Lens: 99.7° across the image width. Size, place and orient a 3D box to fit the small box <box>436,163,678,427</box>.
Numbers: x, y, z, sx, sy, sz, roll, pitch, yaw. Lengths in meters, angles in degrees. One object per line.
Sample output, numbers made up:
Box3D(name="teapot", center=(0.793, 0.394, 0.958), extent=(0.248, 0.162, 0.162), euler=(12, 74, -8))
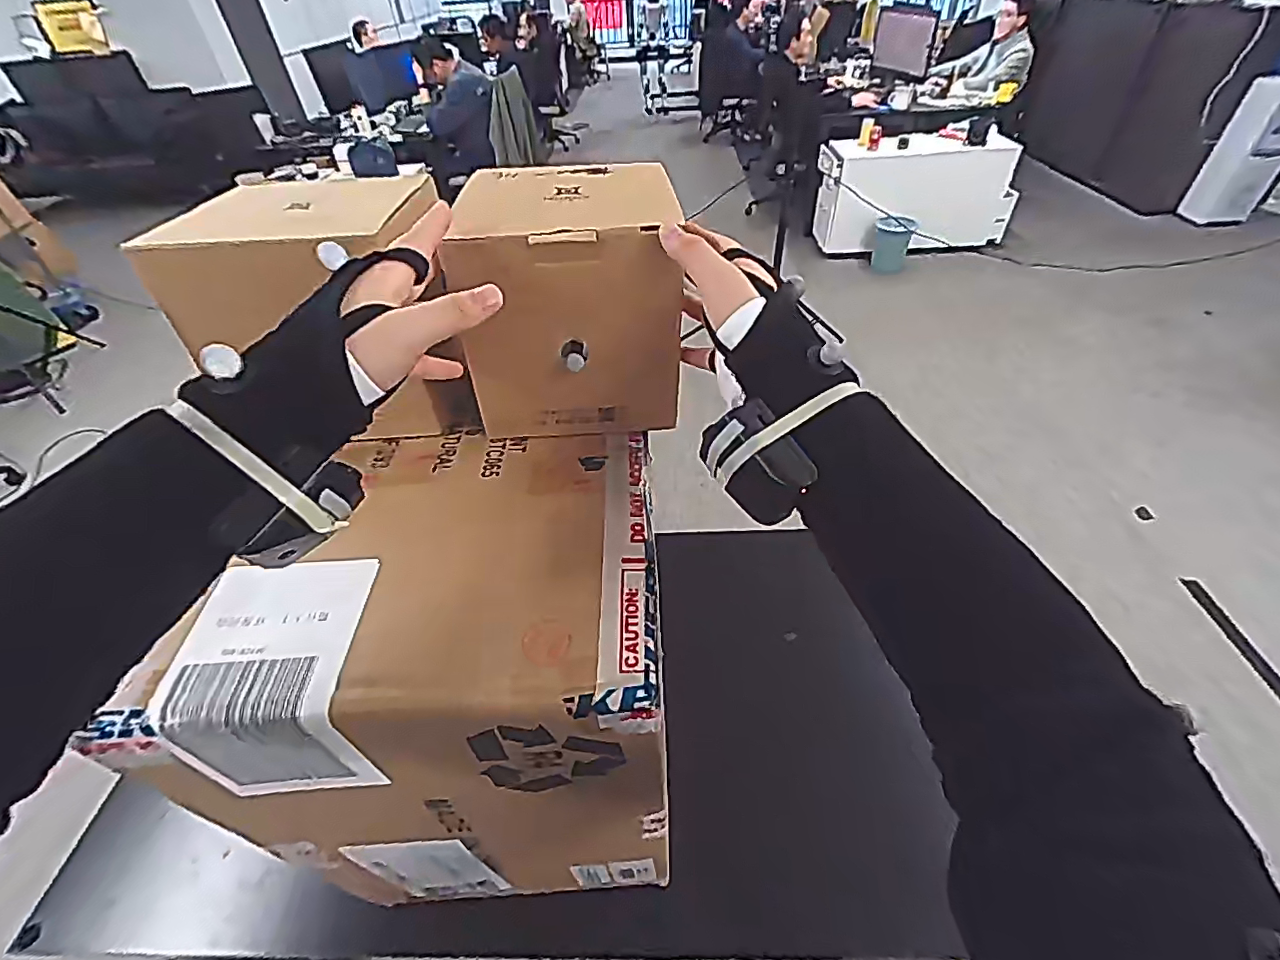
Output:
Box3D(name="small box", center=(-0.058, -0.157, 0.470), extent=(0.168, 0.176, 0.179), euler=(-3, 43, -3))

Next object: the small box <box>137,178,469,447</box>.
Box3D(name="small box", center=(-0.257, -0.149, 0.474), extent=(0.168, 0.176, 0.179), euler=(-5, 42, -2))
